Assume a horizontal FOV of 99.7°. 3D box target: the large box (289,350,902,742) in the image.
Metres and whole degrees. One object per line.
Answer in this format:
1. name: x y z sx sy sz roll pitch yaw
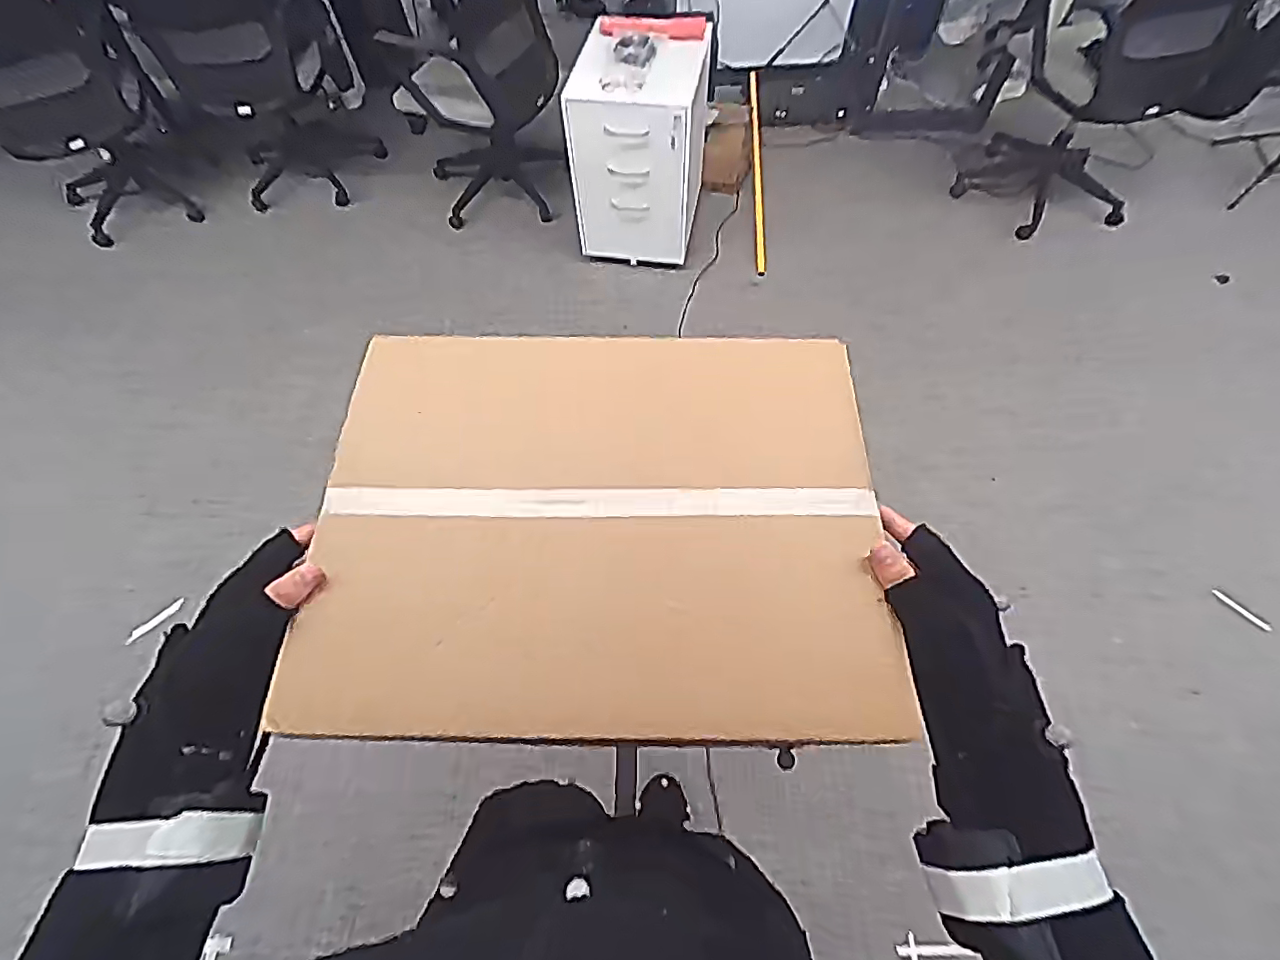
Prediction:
1. large box: -0.027 0.088 0.544 0.408 0.320 0.320 1 63 0
